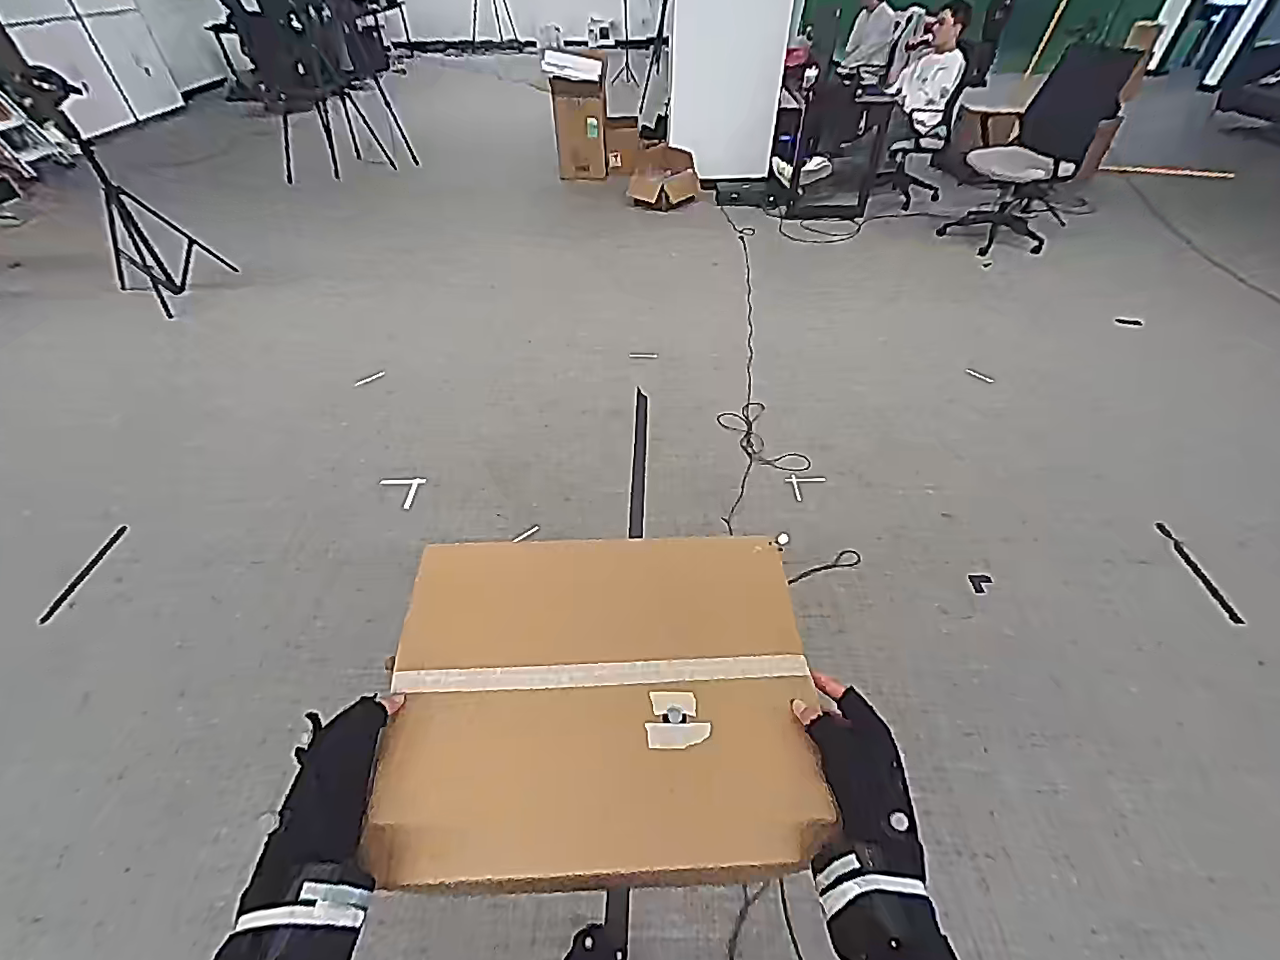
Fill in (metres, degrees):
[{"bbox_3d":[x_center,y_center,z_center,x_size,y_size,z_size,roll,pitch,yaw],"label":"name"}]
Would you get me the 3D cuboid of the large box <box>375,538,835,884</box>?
[{"bbox_3d":[-0.039,0.288,0.667,0.408,0.320,0.320,-1,52,-3],"label":"large box"}]
